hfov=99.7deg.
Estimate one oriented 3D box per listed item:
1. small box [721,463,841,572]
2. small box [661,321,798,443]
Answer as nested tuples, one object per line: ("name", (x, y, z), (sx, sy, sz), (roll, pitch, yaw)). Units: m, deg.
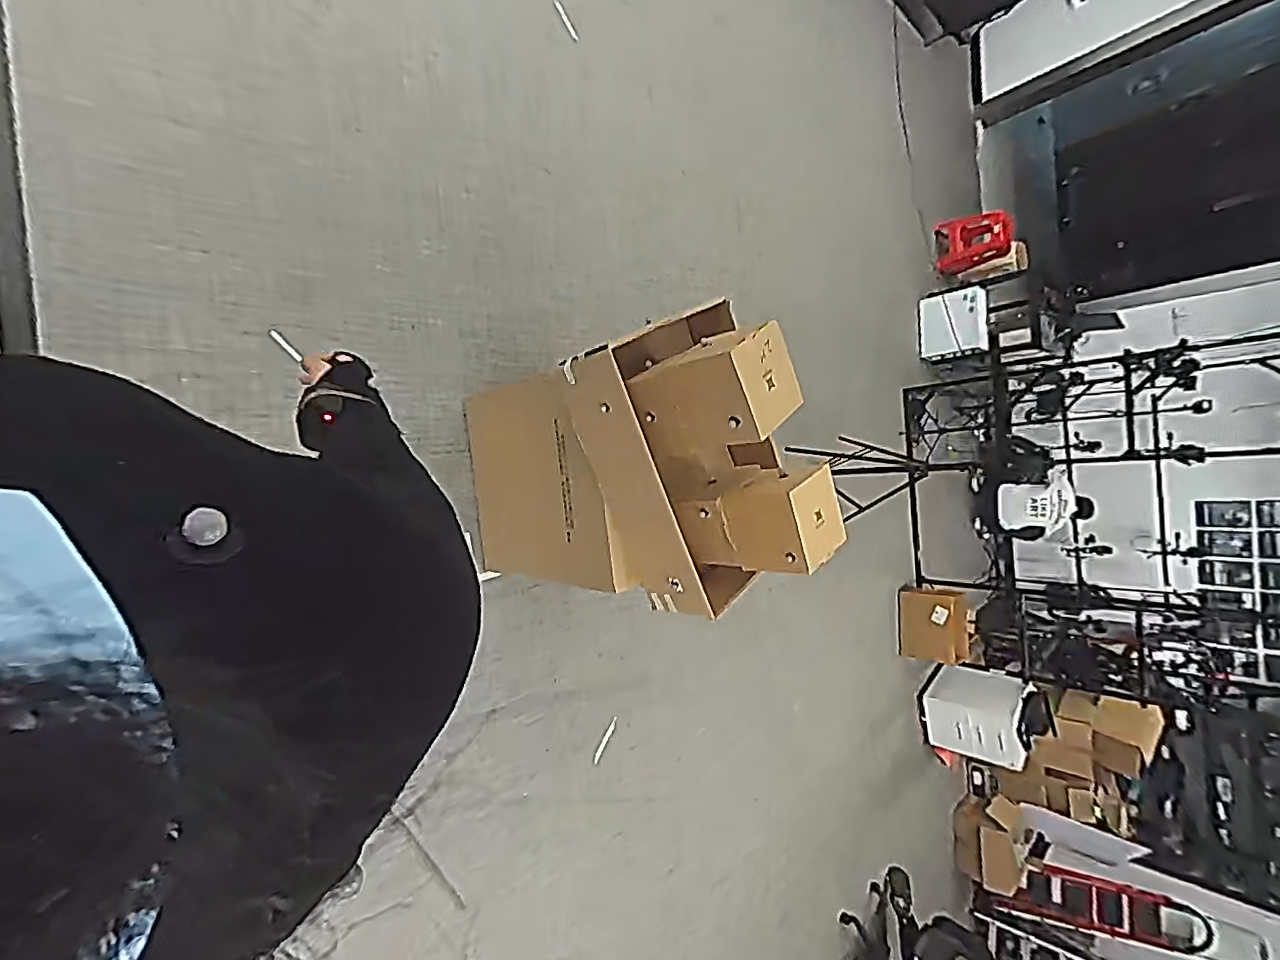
("small box", (0.294, 0.078, 1.144), (0.168, 0.176, 0.179), (-29, 106, -40))
("small box", (0.171, -0.181, 1.044), (0.168, 0.176, 0.179), (-39, 113, -37))
